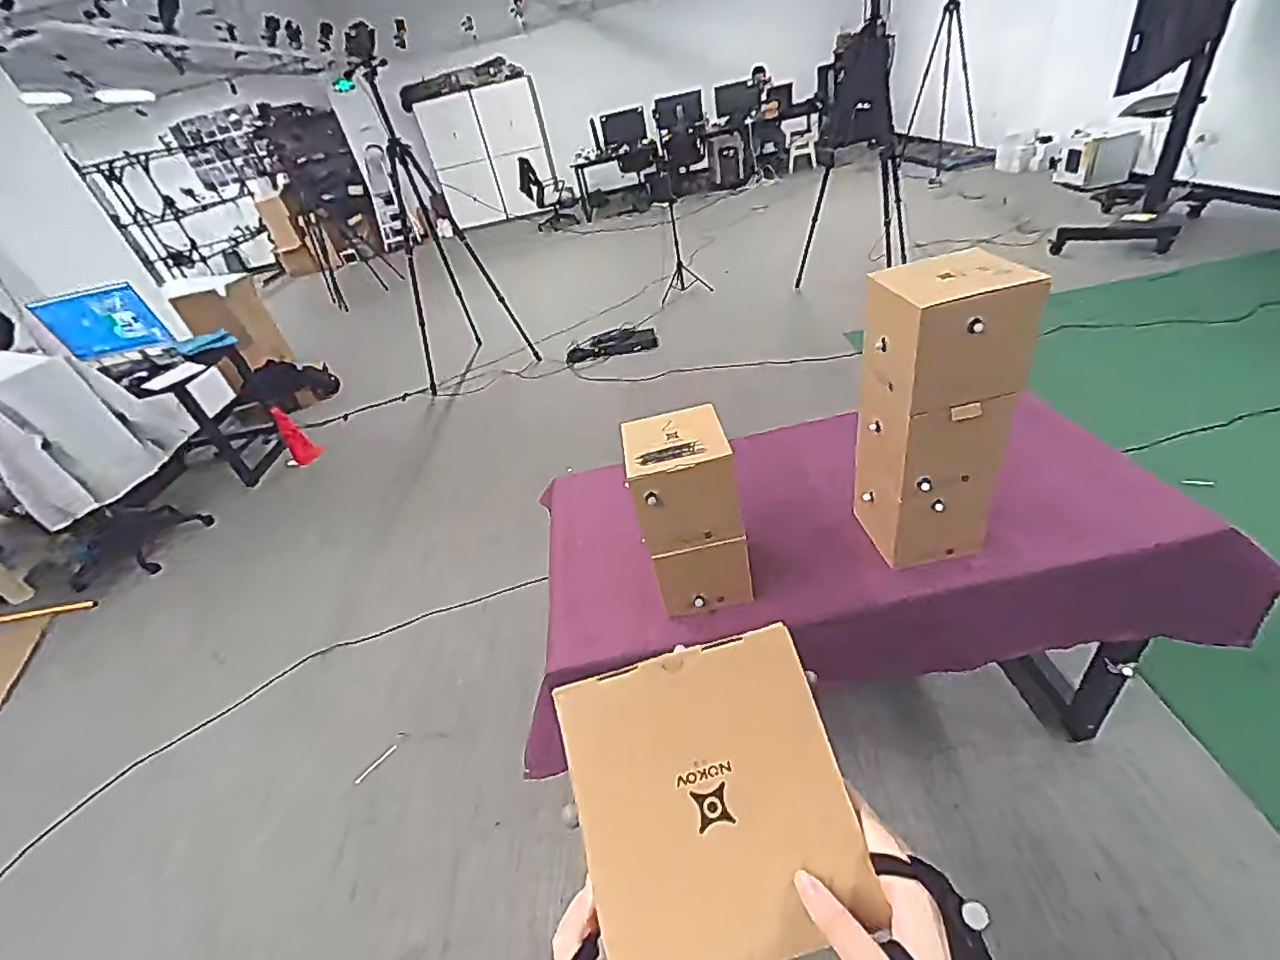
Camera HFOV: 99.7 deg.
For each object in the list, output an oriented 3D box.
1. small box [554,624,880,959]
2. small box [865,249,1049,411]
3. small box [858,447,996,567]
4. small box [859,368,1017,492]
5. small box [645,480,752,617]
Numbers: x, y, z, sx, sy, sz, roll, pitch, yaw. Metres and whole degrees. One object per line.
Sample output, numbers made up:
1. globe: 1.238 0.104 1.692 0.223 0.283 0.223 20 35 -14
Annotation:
1. small box: 0.046 0.224 0.413 0.168 0.176 0.179 -16 69 -3
2. small box: 0.455 -0.222 0.810 0.179 0.176 0.168 -12 37 3
3. small box: 0.518 0.034 1.007 0.168 0.176 0.179 -14 35 3
4. small box: 0.486 -0.095 0.911 0.168 0.176 0.179 -13 36 2
5. small box: 0.109 0.129 1.023 0.168 0.176 0.179 -12 37 4
